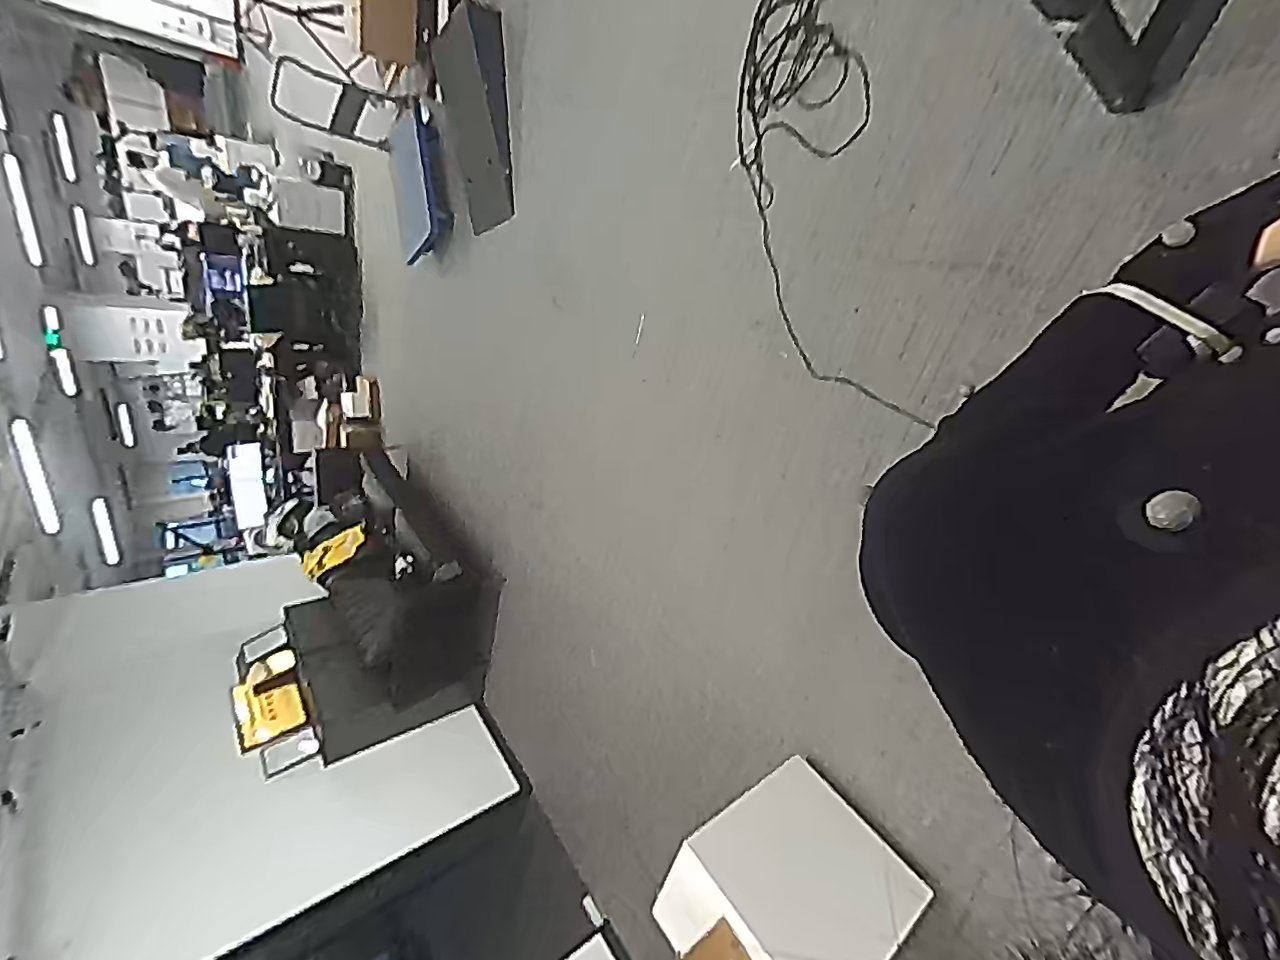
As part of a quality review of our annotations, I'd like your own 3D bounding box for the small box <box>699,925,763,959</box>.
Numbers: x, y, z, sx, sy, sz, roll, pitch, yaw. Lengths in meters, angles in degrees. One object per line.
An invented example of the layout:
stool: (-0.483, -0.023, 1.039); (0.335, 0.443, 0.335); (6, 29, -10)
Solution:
small box: (0.221, 1.287, 1.366); (0.168, 0.176, 0.179); (45, 130, 36)
